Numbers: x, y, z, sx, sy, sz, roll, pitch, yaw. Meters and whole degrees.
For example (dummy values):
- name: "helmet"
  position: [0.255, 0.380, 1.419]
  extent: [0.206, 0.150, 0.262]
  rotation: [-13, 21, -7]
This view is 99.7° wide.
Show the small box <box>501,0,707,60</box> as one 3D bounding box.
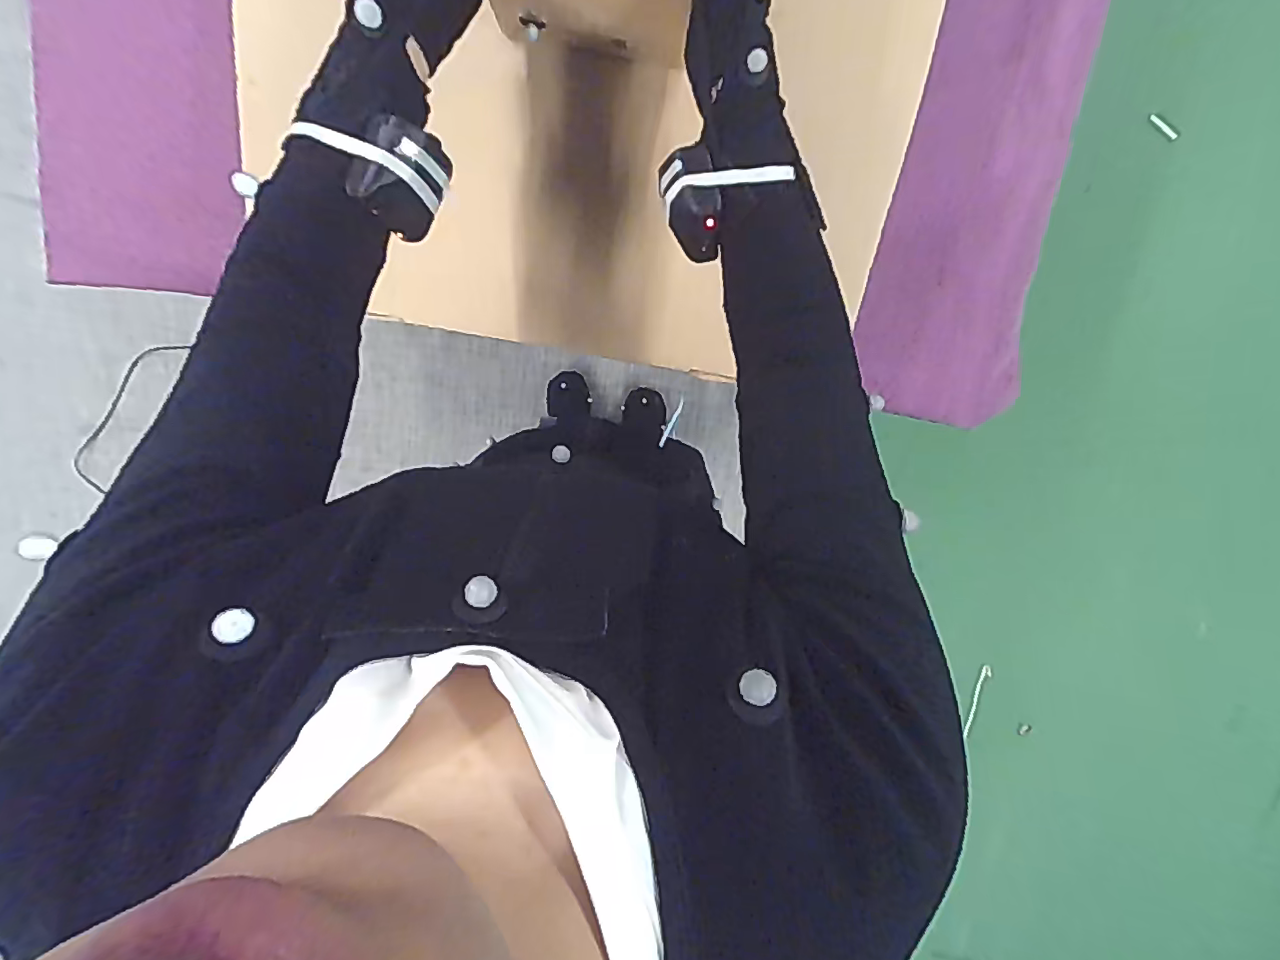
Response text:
- name: "small box"
  position: [-0.023, -0.435, 0.376]
  extent: [0.168, 0.176, 0.179]
  rotation: [6, 103, -1]
